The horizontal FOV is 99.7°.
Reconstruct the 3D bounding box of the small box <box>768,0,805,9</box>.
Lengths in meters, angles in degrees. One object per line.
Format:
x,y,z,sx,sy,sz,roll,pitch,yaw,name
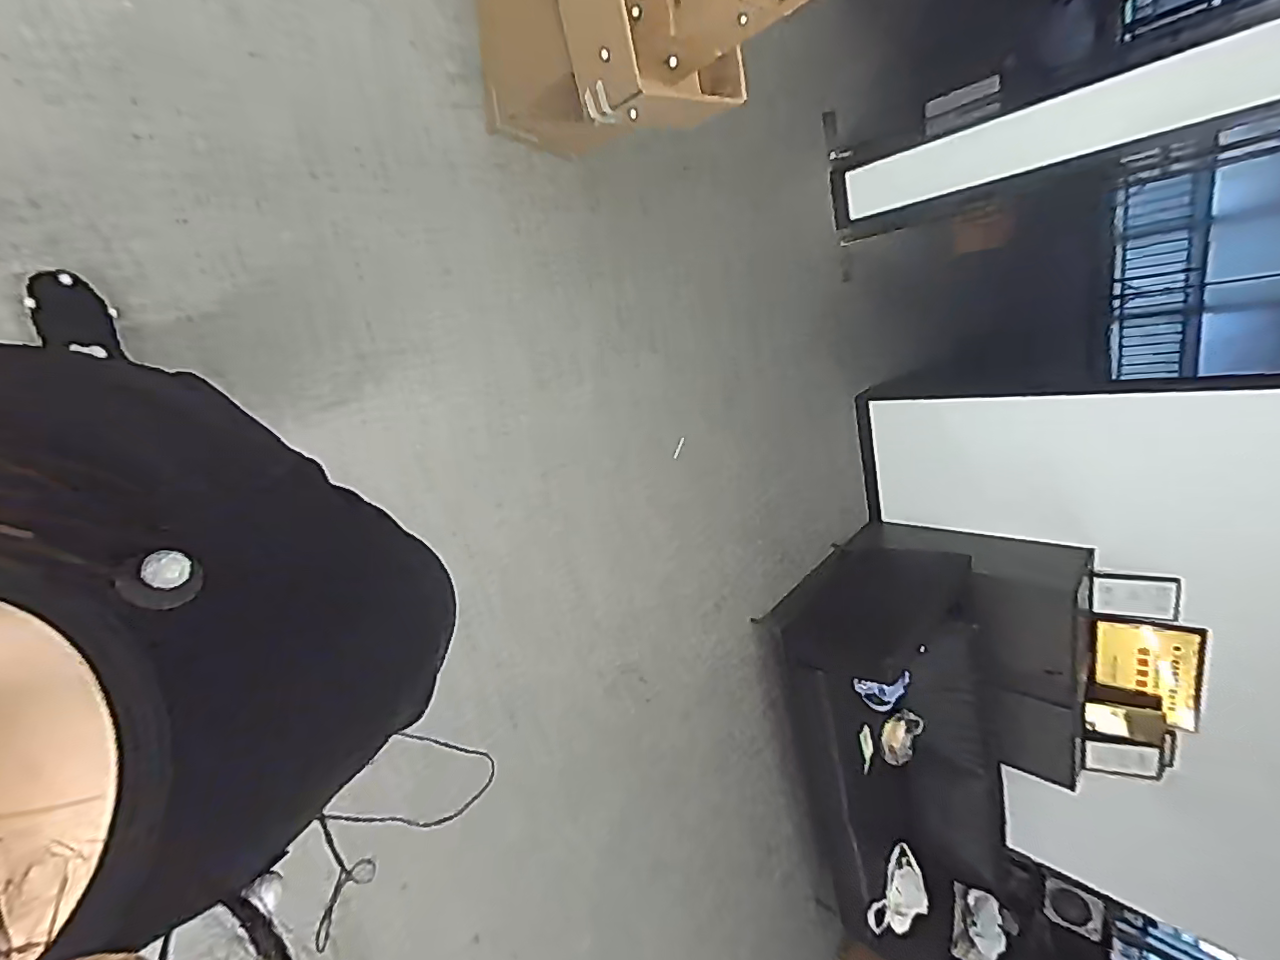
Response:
0.299,-1.031,0.997,0.168,0.176,0.179,-25,111,-37,small box

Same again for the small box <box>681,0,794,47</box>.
0.192,-1.040,1.119,0.179,0.176,0.168,-24,110,-38,small box
